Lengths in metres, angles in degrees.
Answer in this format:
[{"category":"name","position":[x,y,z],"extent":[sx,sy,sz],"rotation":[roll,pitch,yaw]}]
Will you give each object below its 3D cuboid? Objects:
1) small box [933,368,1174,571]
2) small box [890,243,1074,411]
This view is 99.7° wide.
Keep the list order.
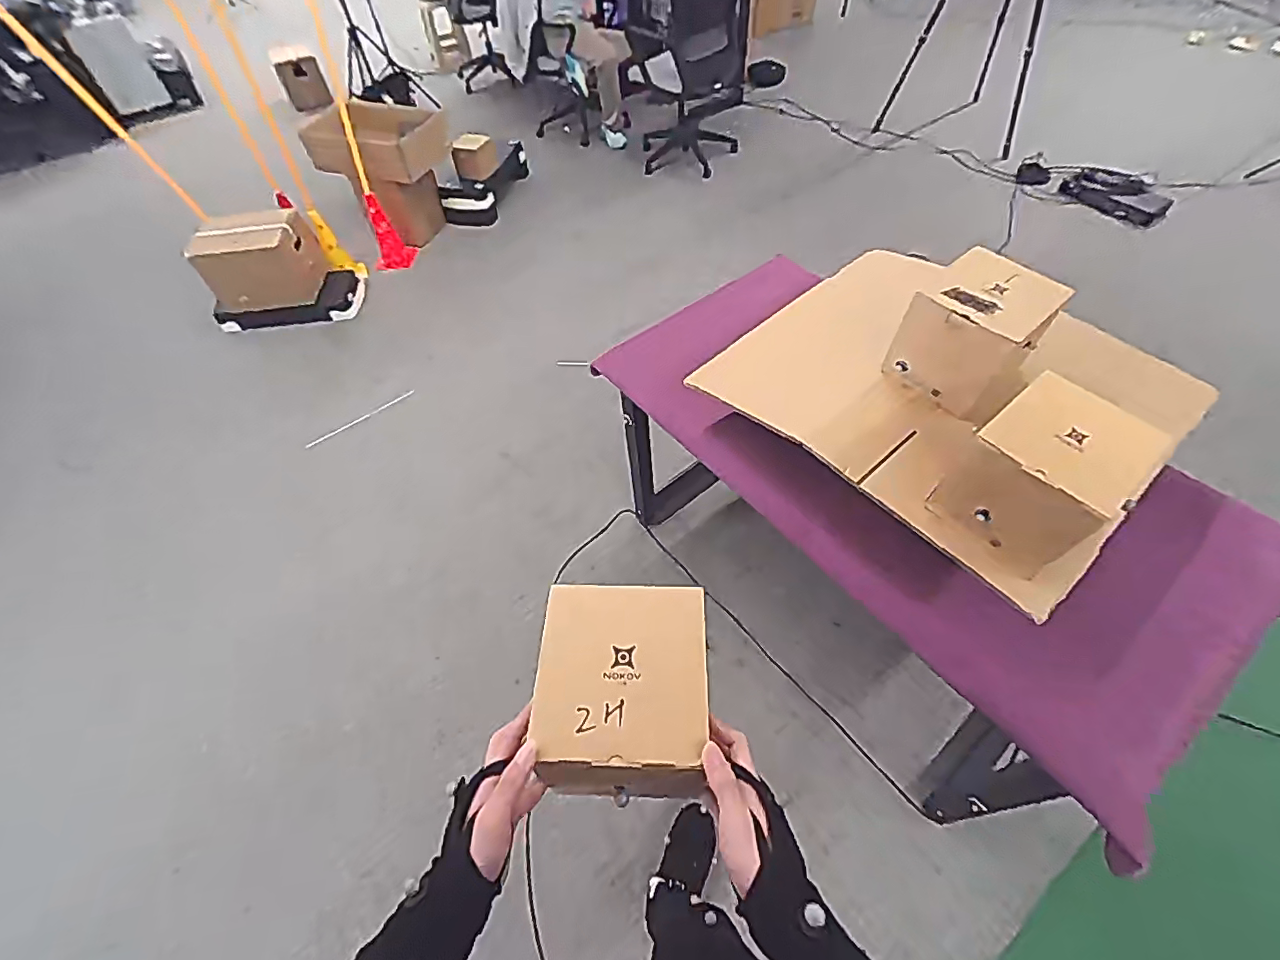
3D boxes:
[{"category":"small box","position":[0.538,-0.011,0.732],"extent":[0.179,0.176,0.168],"rotation":[-37,63,-19]},{"category":"small box","position":[0.540,-0.246,0.884],"extent":[0.179,0.176,0.168],"rotation":[-36,63,-20]}]
